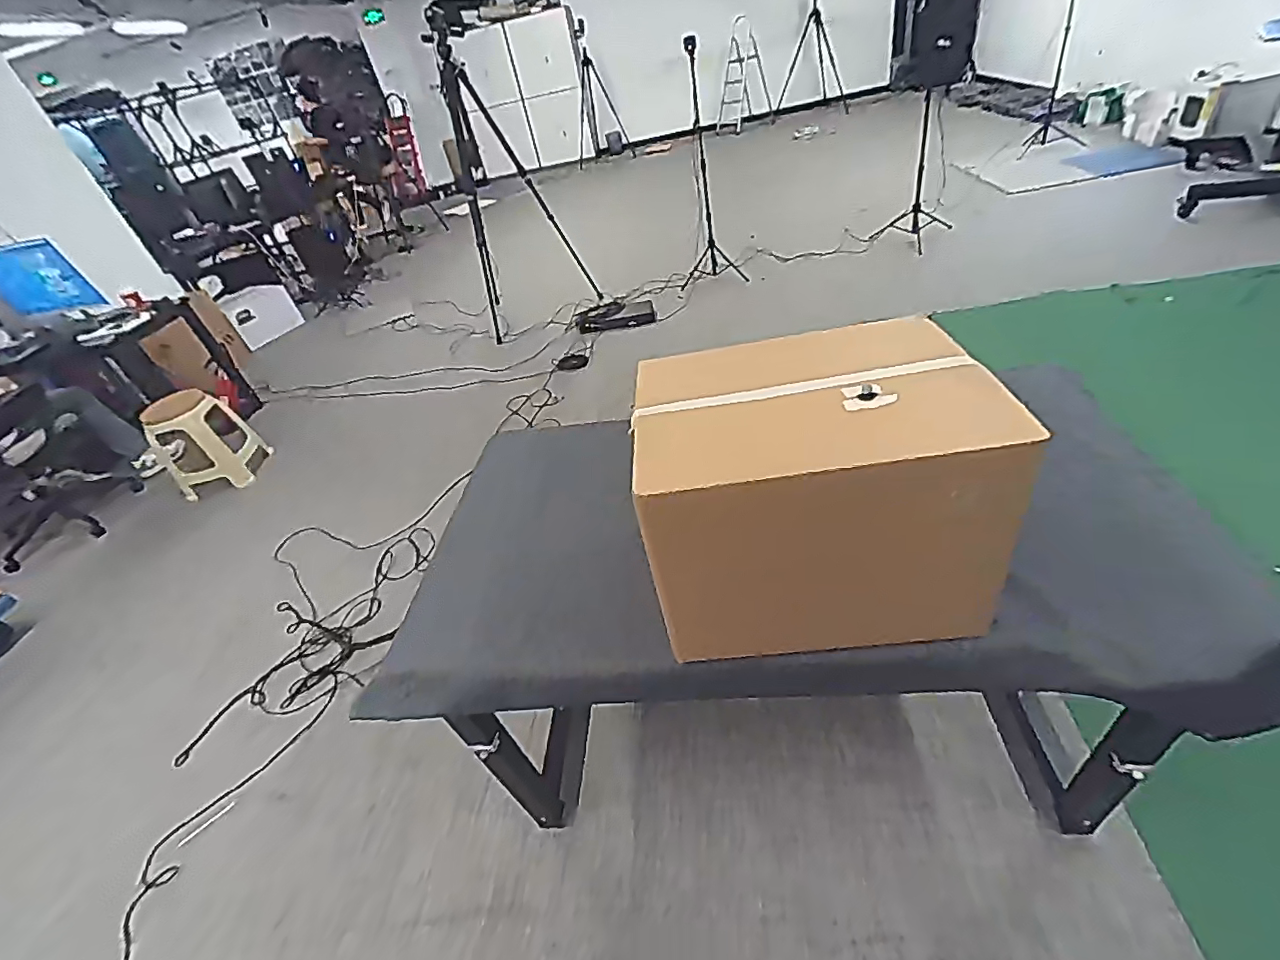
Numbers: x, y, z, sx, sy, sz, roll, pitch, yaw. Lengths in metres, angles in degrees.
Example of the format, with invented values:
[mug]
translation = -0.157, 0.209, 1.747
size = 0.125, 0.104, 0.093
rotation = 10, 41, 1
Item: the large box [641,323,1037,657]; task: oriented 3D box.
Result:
[large box]
translation = 0.221, 0.014, 0.753
size = 0.408, 0.320, 0.320
rotation = -7, 38, 7
